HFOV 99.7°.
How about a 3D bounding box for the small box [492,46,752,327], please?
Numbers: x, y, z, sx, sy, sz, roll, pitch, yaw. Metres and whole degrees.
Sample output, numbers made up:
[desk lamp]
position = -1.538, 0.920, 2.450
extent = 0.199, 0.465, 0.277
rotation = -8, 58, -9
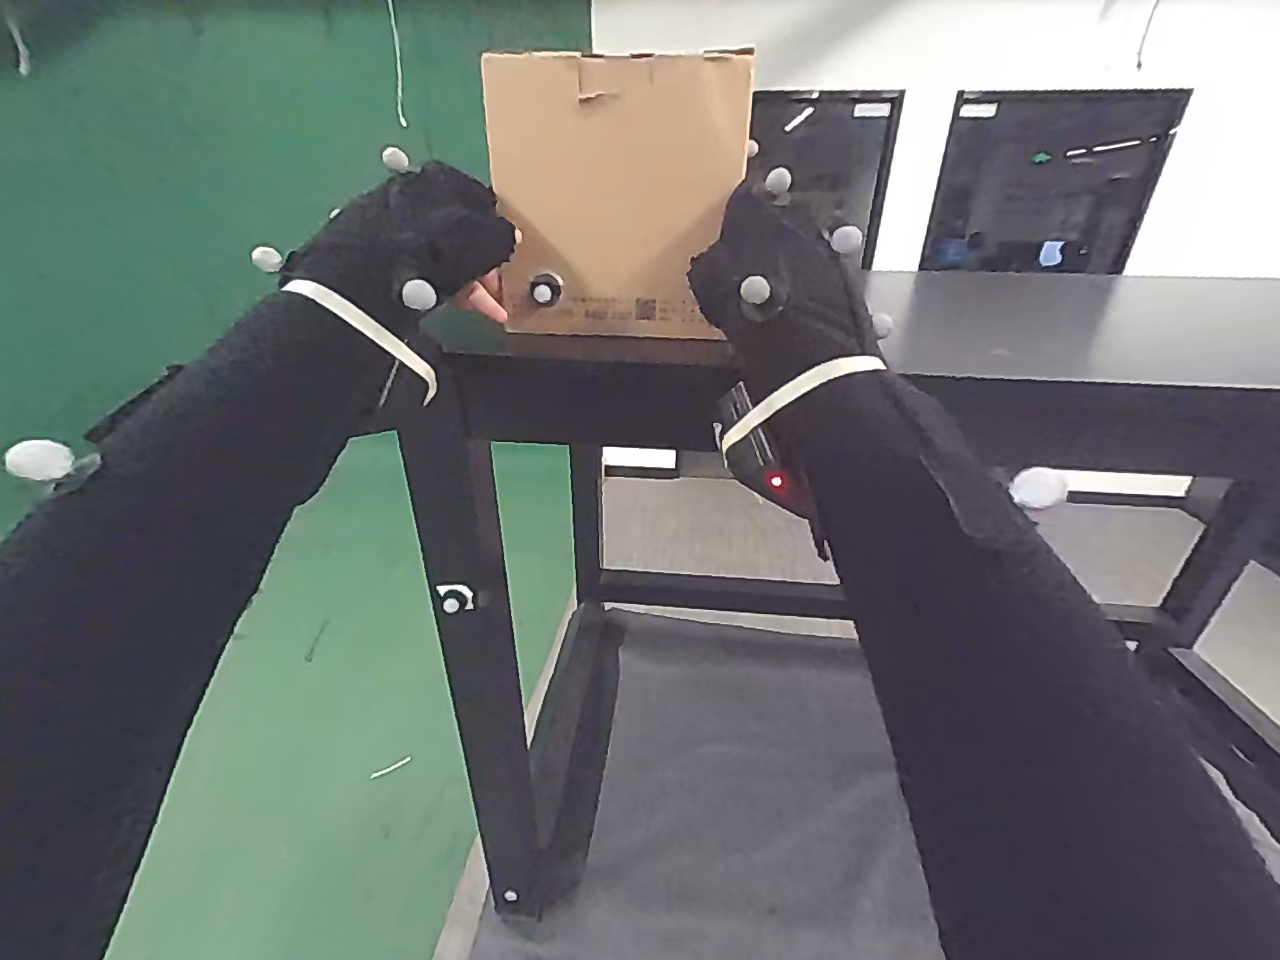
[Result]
[small box]
position = -0.006, -0.223, 0.439
extent = 0.168, 0.176, 0.179
rotation = 3, 25, 3
